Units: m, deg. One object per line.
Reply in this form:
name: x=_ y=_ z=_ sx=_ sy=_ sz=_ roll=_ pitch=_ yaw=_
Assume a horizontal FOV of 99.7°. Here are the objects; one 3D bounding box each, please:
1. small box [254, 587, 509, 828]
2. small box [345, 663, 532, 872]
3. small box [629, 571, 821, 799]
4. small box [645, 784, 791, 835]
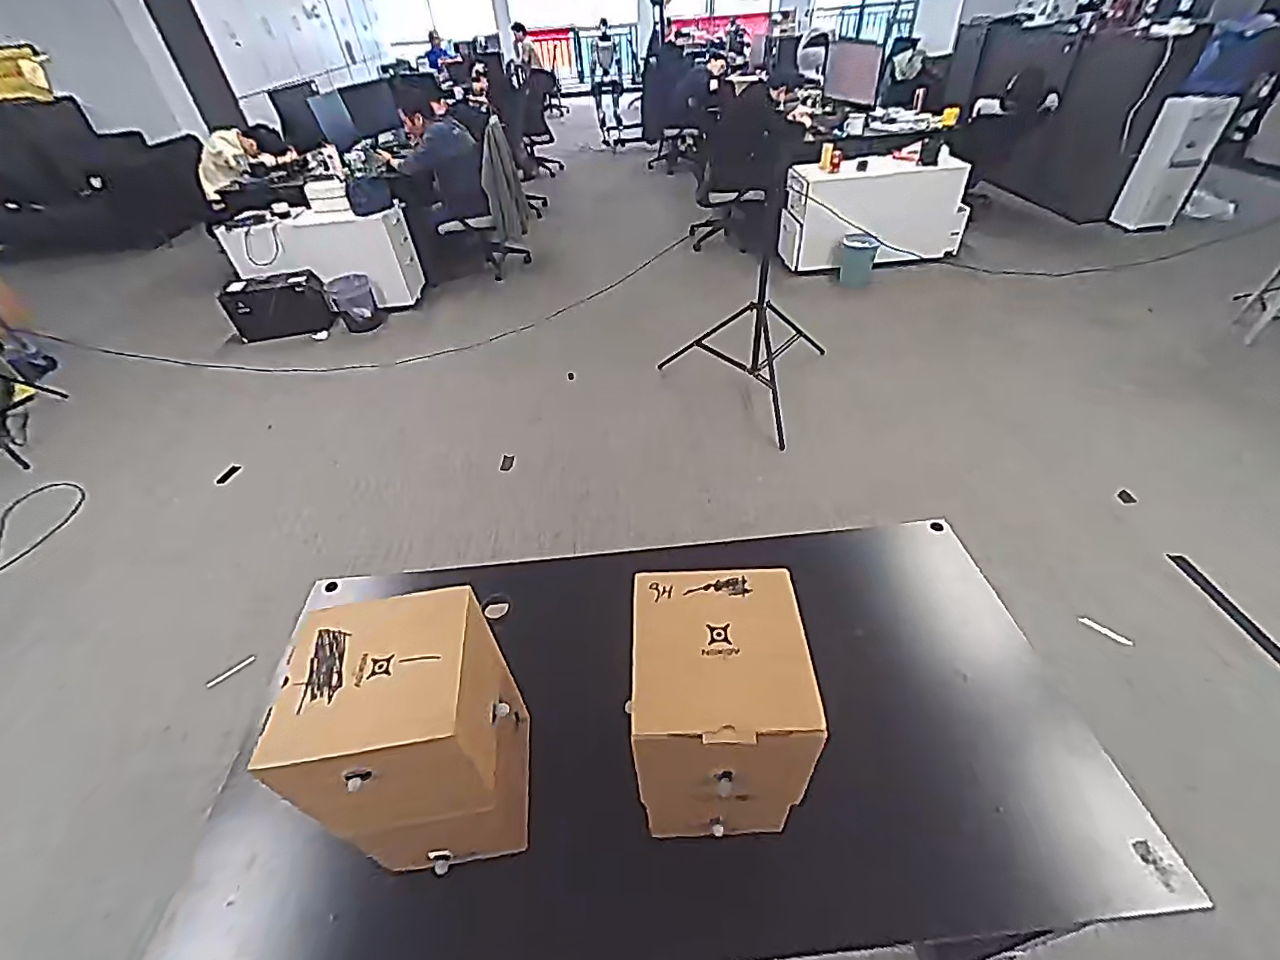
small box: x=-0.248 y=0.242 z=0.573 sx=0.179 sy=0.176 sz=0.168 roll=-9 pitch=42 yaw=-4
small box: x=-0.236 y=0.362 z=0.686 sx=0.168 sy=0.176 sz=0.179 roll=-9 pitch=43 yaw=-3
small box: x=0.080 y=0.218 z=0.568 sx=0.168 sy=0.176 sz=0.179 roll=-2 pitch=43 yaw=3
small box: x=0.088 y=0.327 z=0.691 sx=0.168 sy=0.176 sz=0.179 roll=-4 pitch=42 yaw=2
